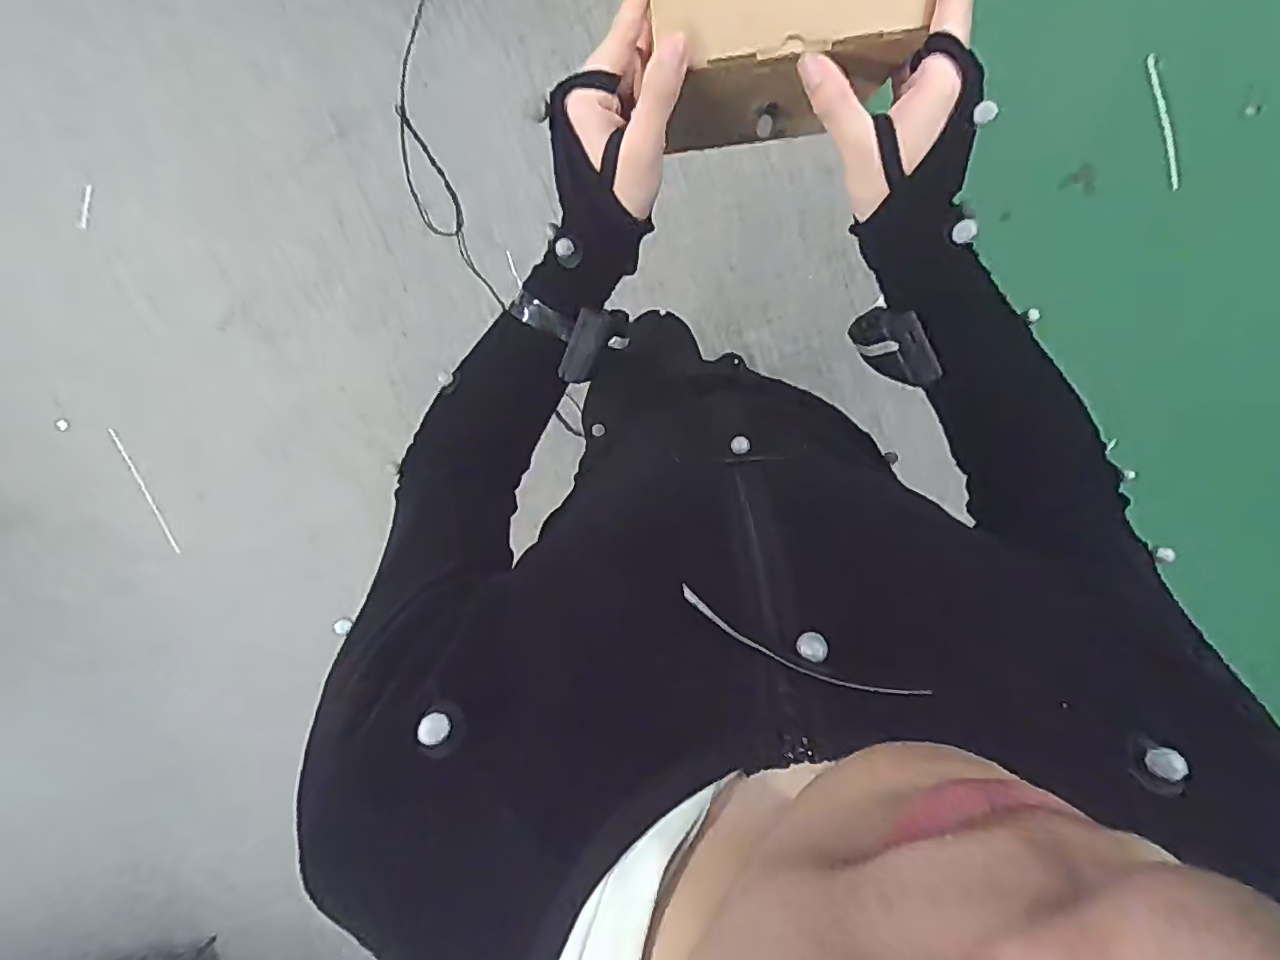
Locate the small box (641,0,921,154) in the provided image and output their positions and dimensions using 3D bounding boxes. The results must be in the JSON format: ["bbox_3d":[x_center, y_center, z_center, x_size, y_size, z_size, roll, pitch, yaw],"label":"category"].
[{"bbox_3d":[0.083,-0.353,0.384,0.168,0.176,0.179,-6,106,4],"label":"small box"}]
